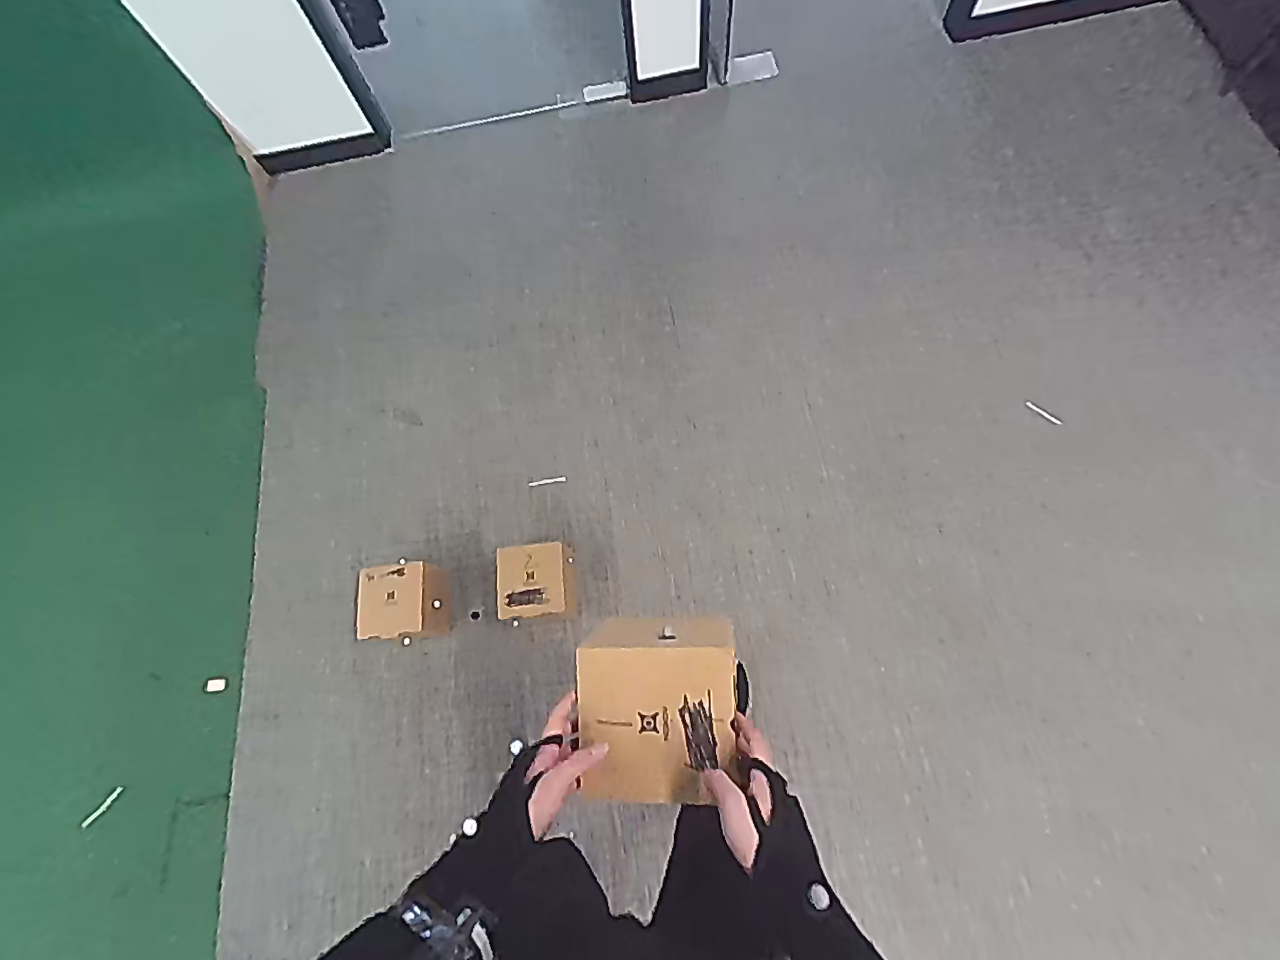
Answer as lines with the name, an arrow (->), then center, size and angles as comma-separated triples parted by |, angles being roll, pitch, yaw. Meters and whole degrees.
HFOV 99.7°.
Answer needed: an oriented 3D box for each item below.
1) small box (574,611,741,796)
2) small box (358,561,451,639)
small box -> 0.027, 0.257, 0.659 | 0.179, 0.176, 0.168 | -3, 85, 9
small box -> -0.603, 0.316, 1.402 | 0.168, 0.176, 0.179 | -8, 71, 3
